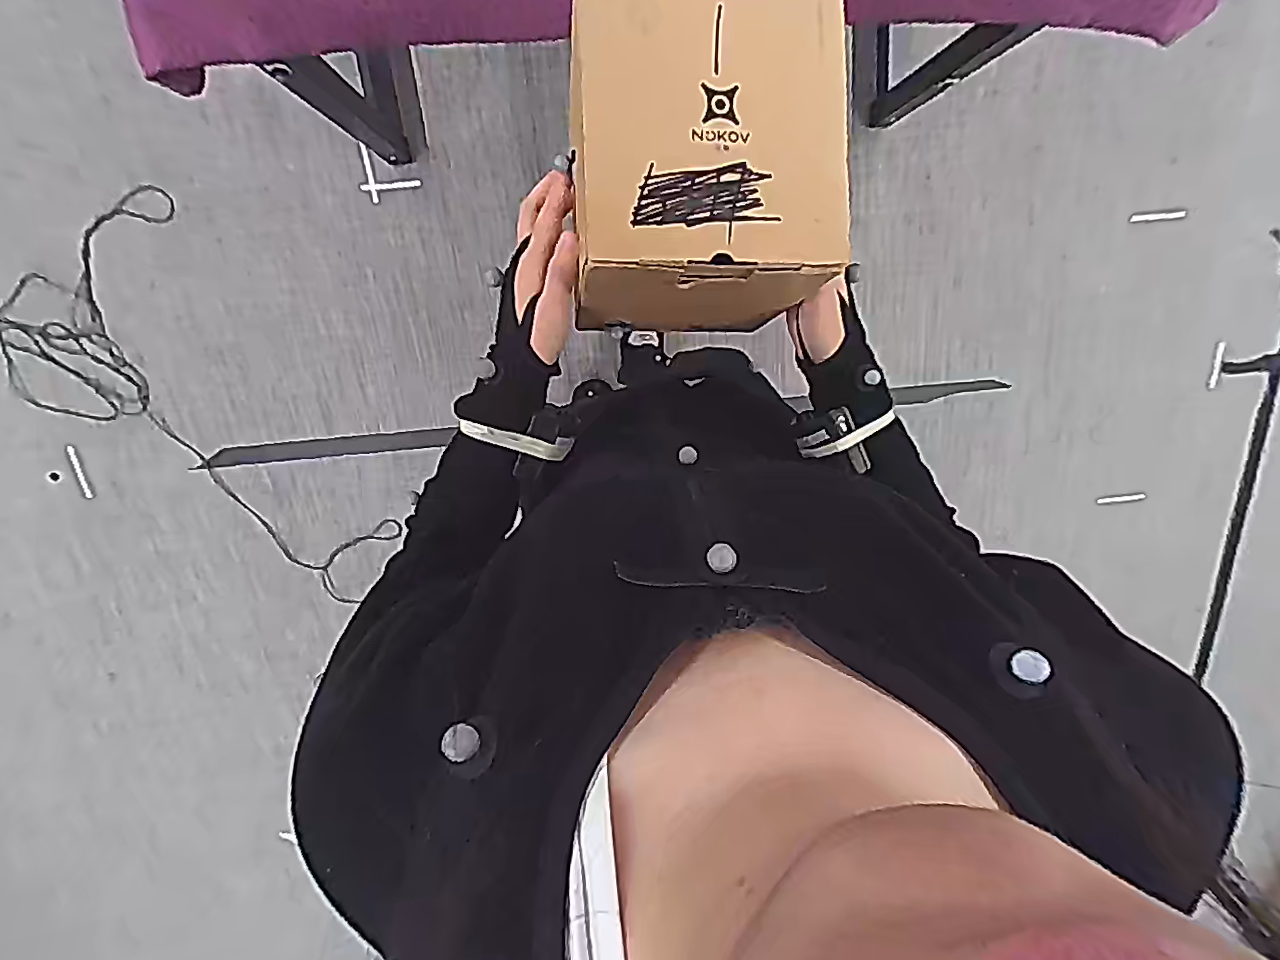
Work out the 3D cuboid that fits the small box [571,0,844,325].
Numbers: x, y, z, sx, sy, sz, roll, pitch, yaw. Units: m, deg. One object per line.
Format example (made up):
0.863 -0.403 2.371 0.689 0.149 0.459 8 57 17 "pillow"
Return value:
0.034 -0.221 0.405 0.168 0.176 0.179 -2 91 -9 "small box"
